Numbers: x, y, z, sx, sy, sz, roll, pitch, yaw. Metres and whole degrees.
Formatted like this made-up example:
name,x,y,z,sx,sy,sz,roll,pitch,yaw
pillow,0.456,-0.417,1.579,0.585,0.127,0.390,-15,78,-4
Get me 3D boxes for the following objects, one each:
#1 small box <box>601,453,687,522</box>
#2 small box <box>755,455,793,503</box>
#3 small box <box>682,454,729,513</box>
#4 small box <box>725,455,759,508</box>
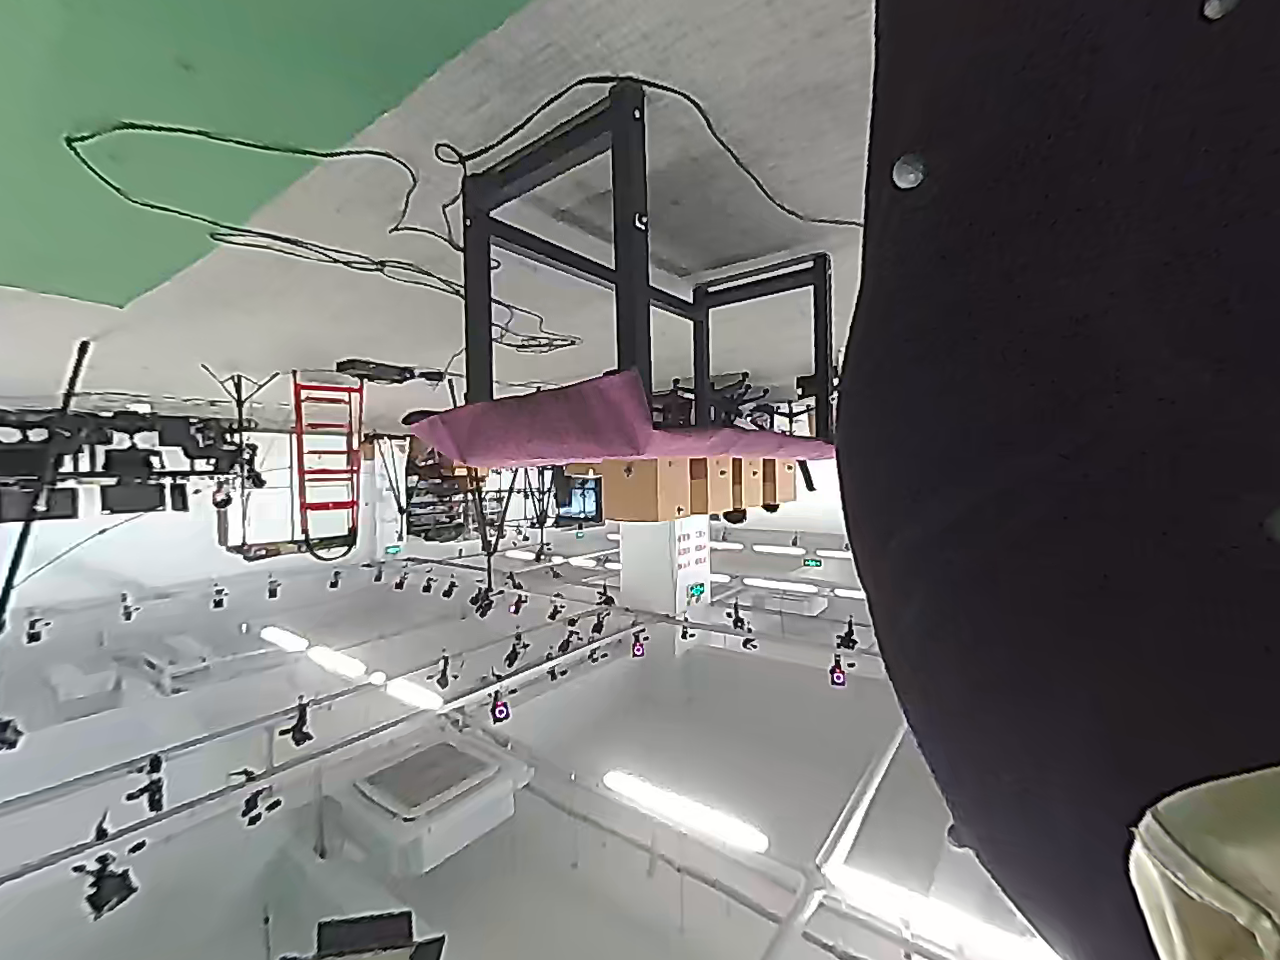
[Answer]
name,x,y,z,sx,sy,sz,roll,pitch,yaw
small box,0.013,0.017,1.440,0.179,0.176,0.168,0,-177,35
small box,0.458,-0.003,2.018,0.179,0.176,0.168,-1,-178,41
small box,0.159,0.010,1.637,0.179,0.176,0.168,-1,-179,34
small box,0.293,0.004,1.830,0.179,0.176,0.168,0,-178,36
